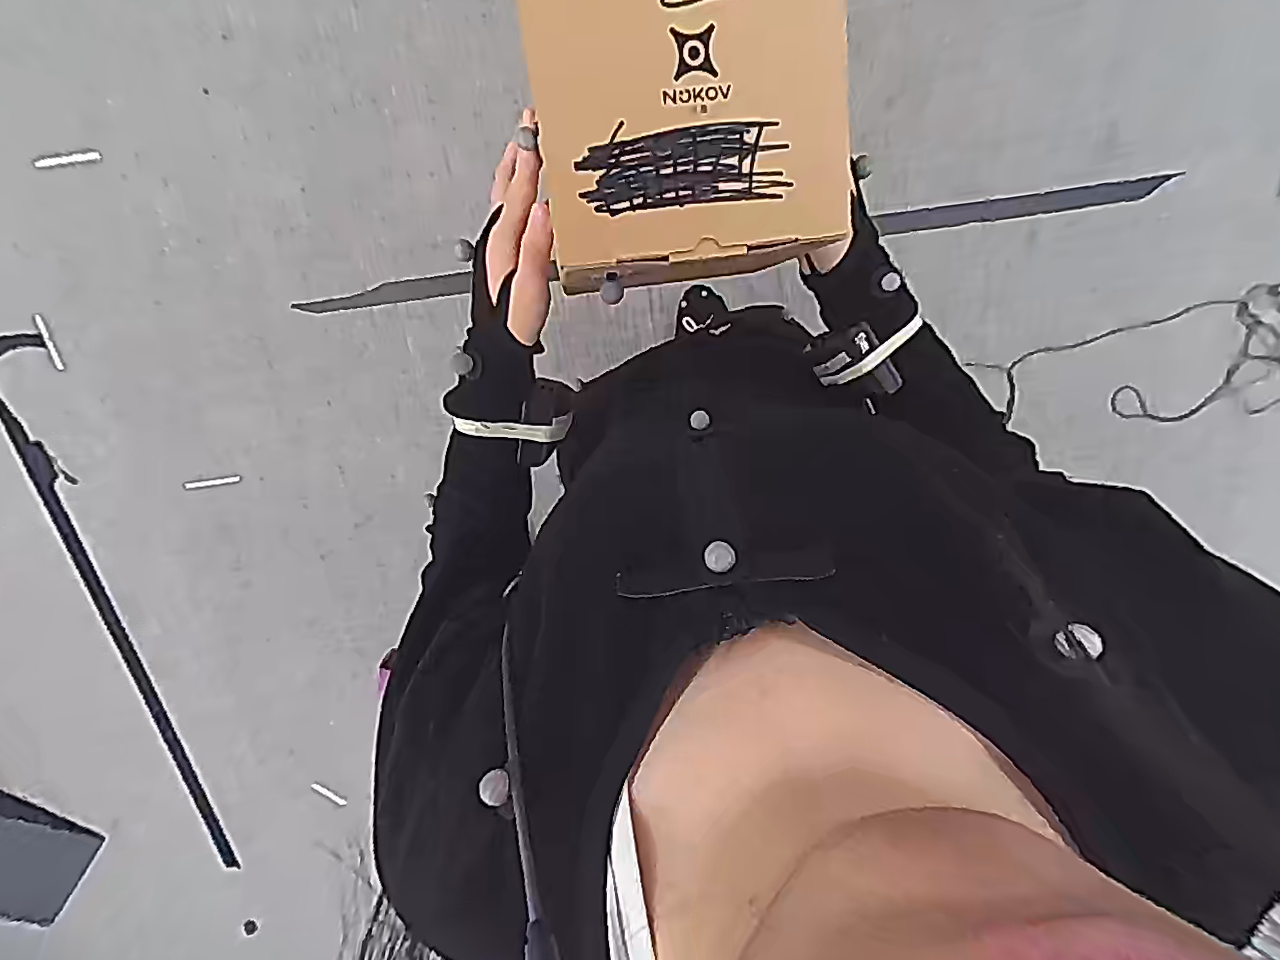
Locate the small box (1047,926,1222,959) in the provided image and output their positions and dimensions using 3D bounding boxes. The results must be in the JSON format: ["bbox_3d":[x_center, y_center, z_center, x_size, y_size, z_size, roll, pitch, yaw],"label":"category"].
[{"bbox_3d":[0.516,0.575,0.510,0.168,0.176,0.179,-7,106,0],"label":"small box"}]
